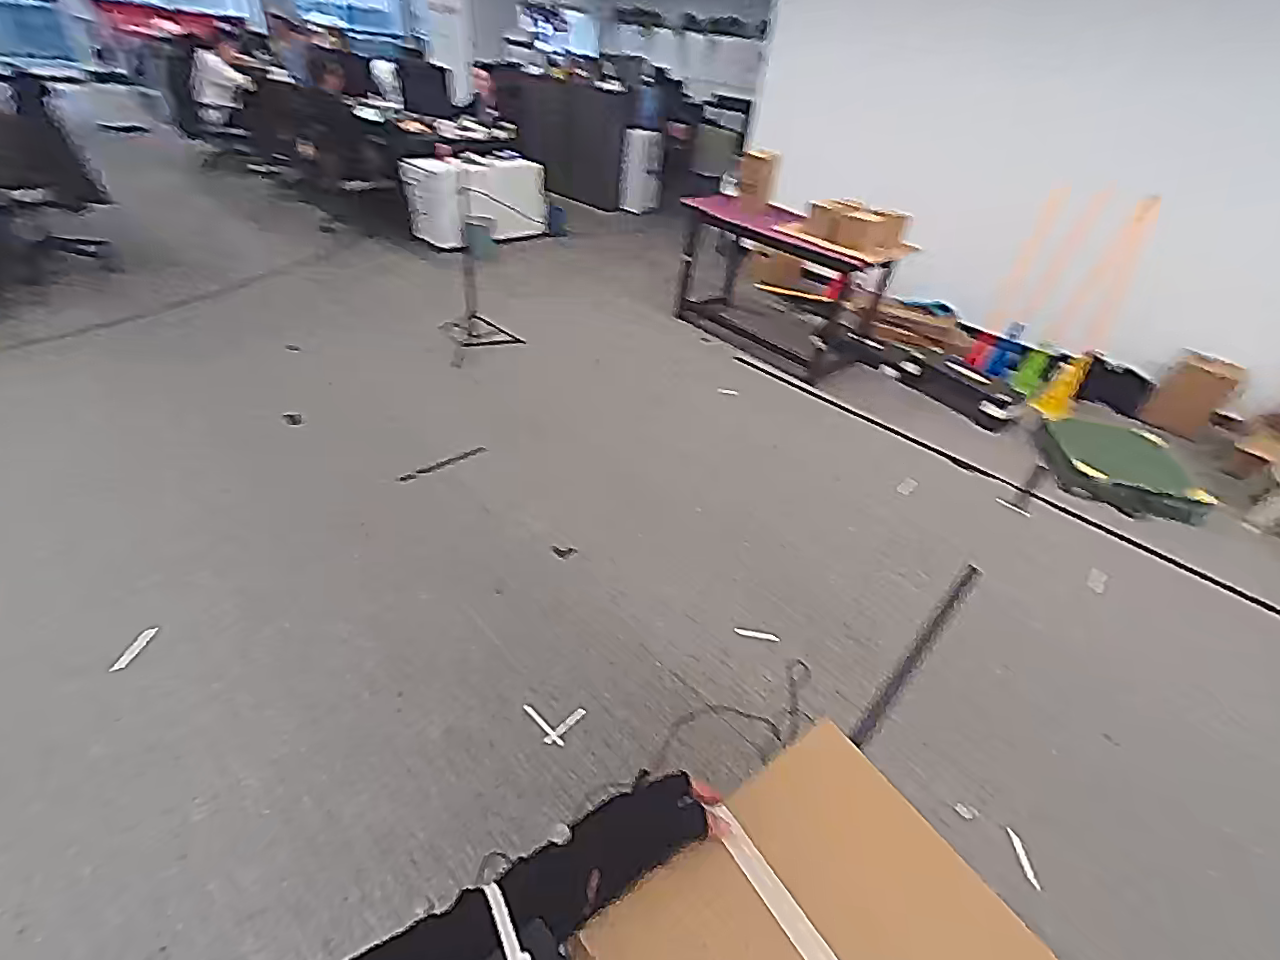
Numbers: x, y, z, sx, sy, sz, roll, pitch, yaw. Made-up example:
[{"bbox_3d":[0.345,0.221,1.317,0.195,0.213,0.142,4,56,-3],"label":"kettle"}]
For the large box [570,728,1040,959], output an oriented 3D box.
[{"bbox_3d":[0.166,0.529,0.477,0.320,0.320,0.408,-23,50,-29],"label":"large box"}]
